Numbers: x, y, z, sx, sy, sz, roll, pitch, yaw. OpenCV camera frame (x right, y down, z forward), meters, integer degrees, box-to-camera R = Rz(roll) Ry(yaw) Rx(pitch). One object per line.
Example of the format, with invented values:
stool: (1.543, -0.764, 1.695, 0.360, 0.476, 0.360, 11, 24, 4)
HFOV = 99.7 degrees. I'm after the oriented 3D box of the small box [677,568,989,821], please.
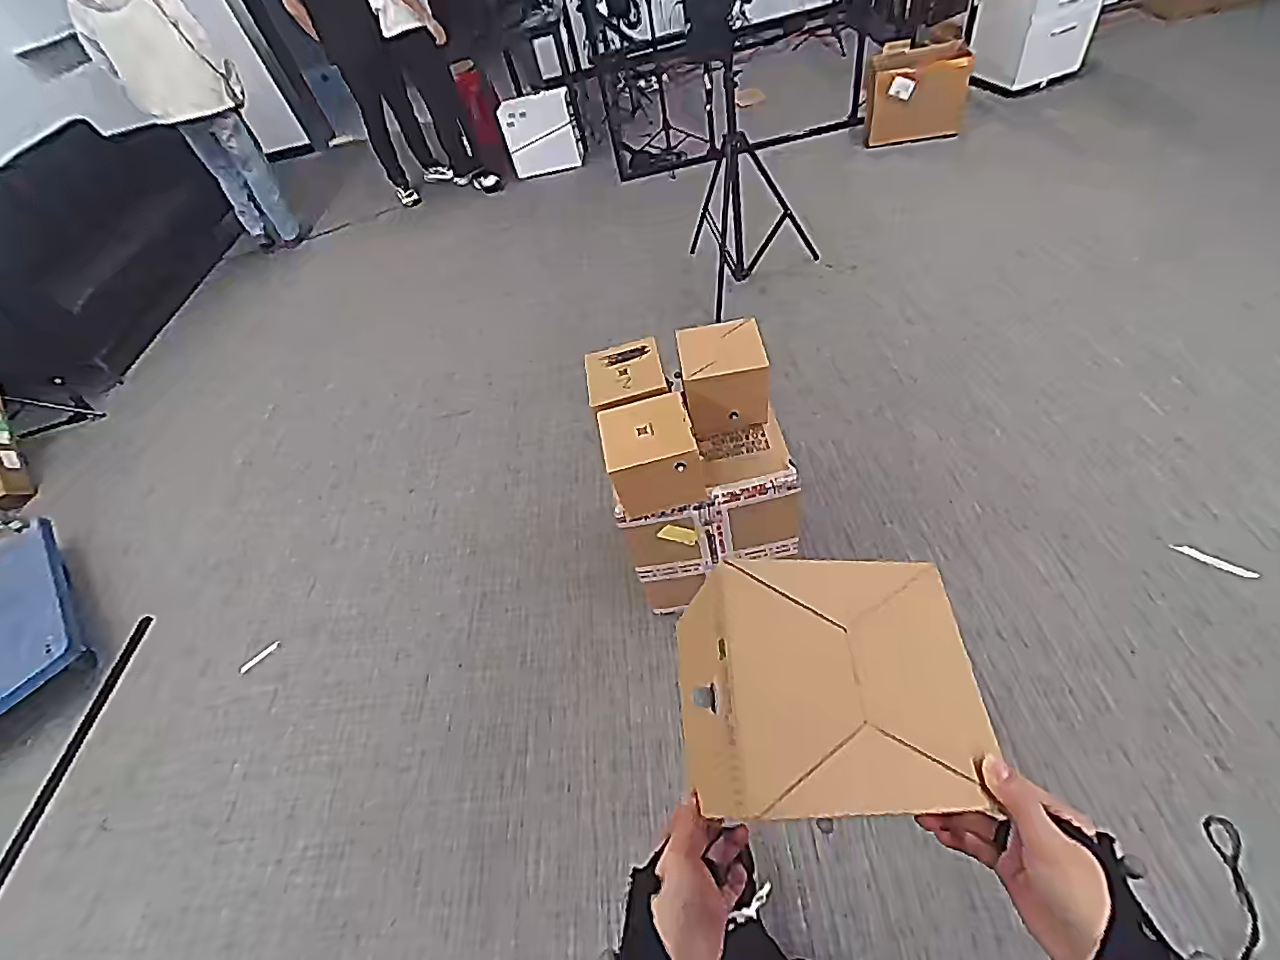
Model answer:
small box: (0.137, 0.180, 0.446, 0.179, 0.176, 0.168, 3, 58, -8)
